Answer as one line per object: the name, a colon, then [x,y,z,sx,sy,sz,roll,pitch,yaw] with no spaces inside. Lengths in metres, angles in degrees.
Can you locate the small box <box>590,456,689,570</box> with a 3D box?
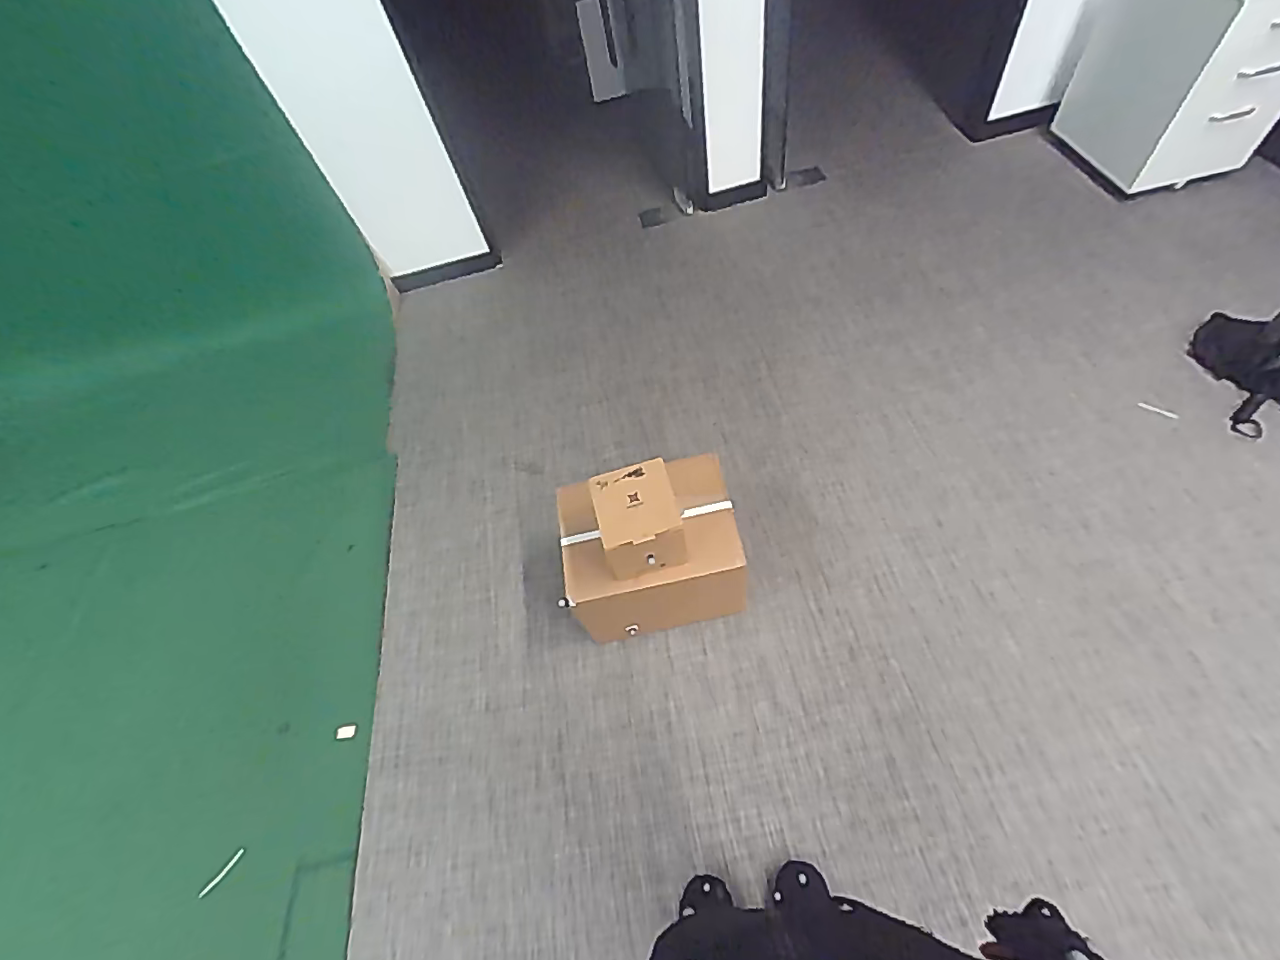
small box: [0.002,0.080,1.167,0.168,0.176,0.179,-16,58,1]
